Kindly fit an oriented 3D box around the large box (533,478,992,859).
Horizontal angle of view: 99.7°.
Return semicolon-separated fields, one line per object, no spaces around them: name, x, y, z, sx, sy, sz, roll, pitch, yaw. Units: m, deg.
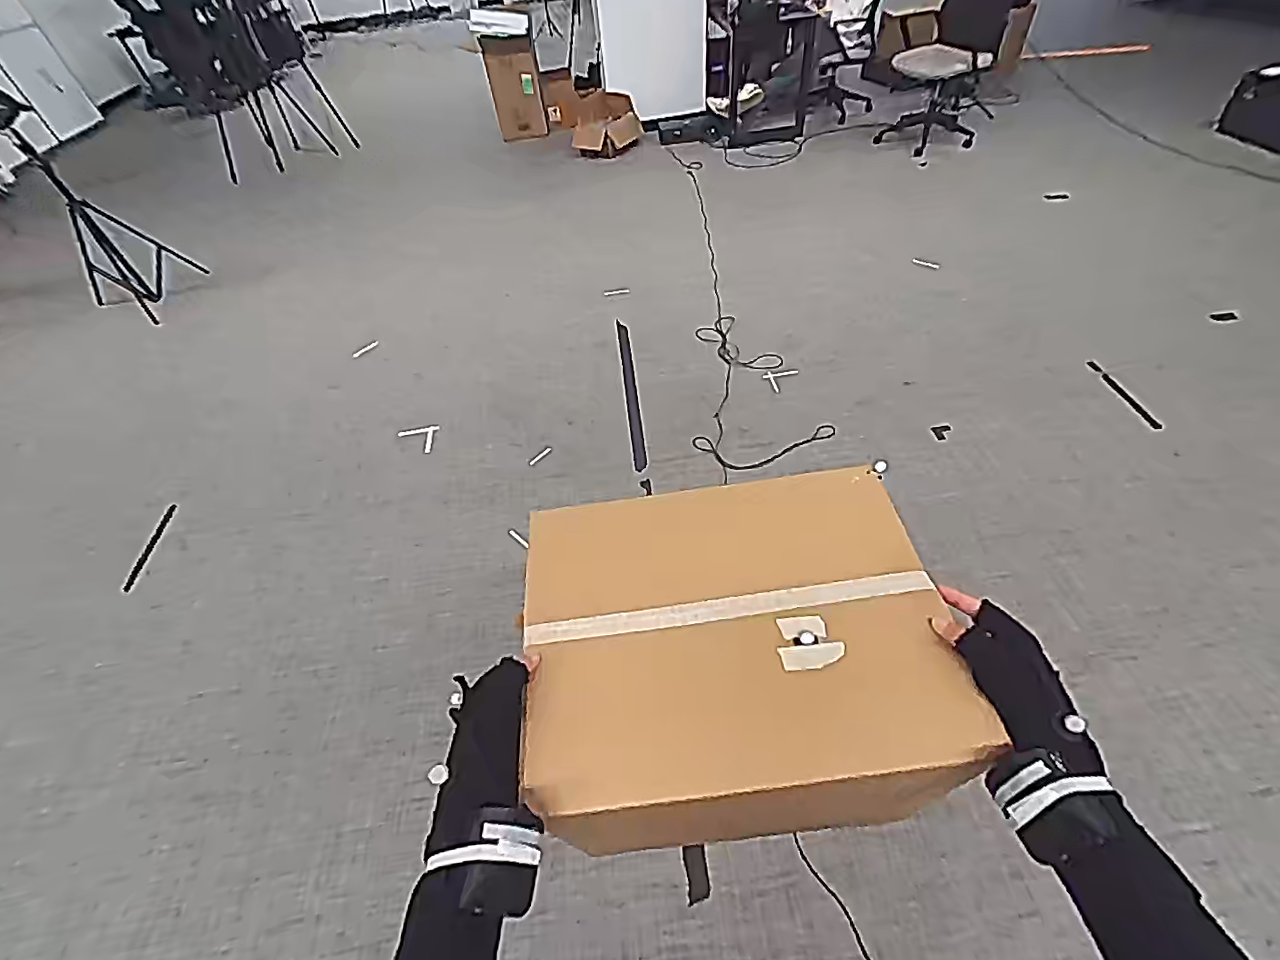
large box;0.101;0.237;0.664;0.408;0.320;0.320;-8;50;1
